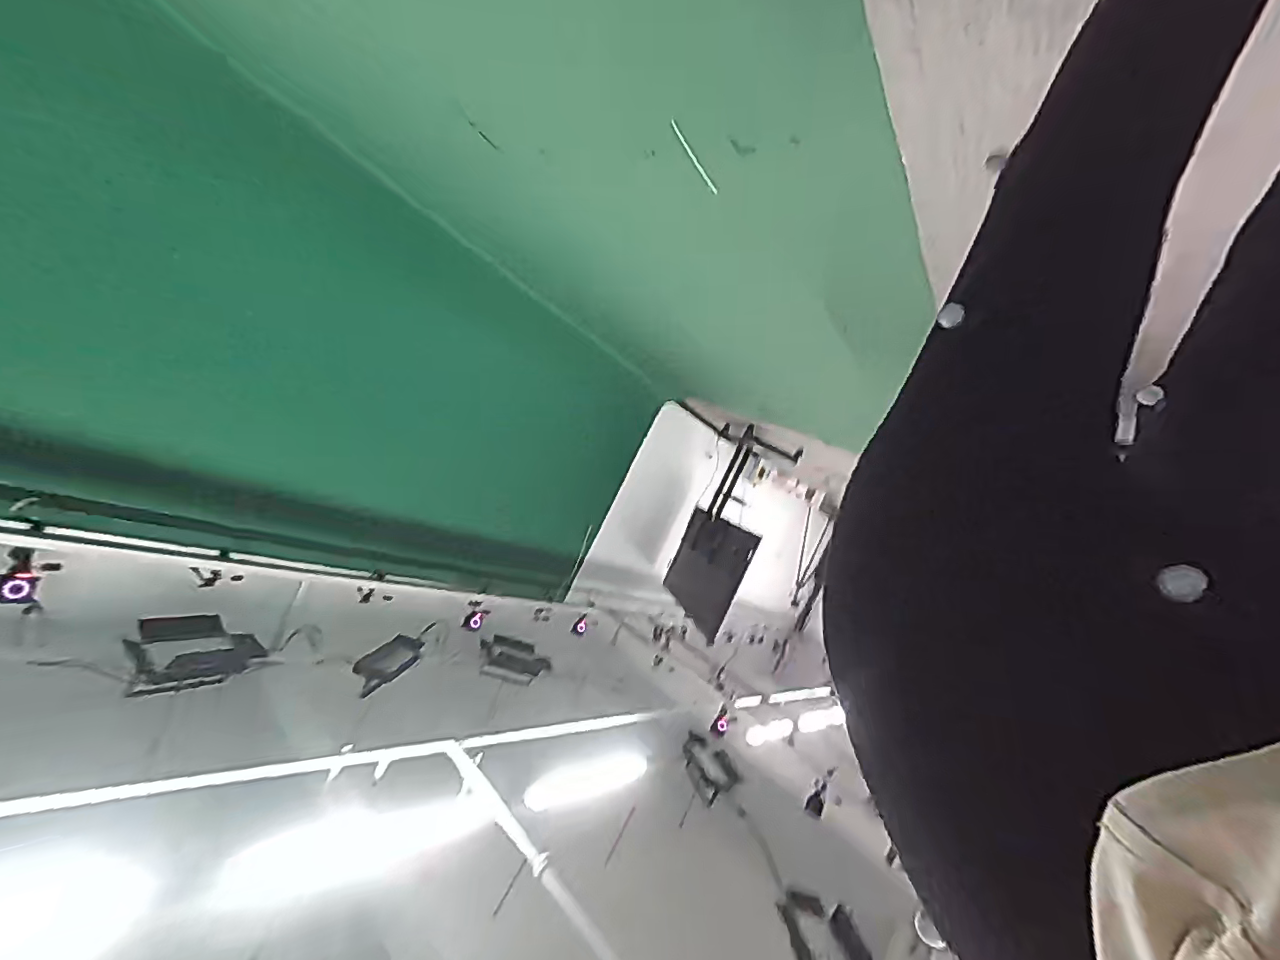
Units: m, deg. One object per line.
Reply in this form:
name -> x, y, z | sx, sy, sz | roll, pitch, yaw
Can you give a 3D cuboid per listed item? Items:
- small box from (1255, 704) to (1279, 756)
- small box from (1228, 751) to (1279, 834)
small box -> 1.696, 0.652, 1.339 | 0.168, 0.176, 0.179 | 27, 180, 43
small box -> 1.614, 0.794, 1.328 | 0.168, 0.176, 0.179 | 27, 180, 41
